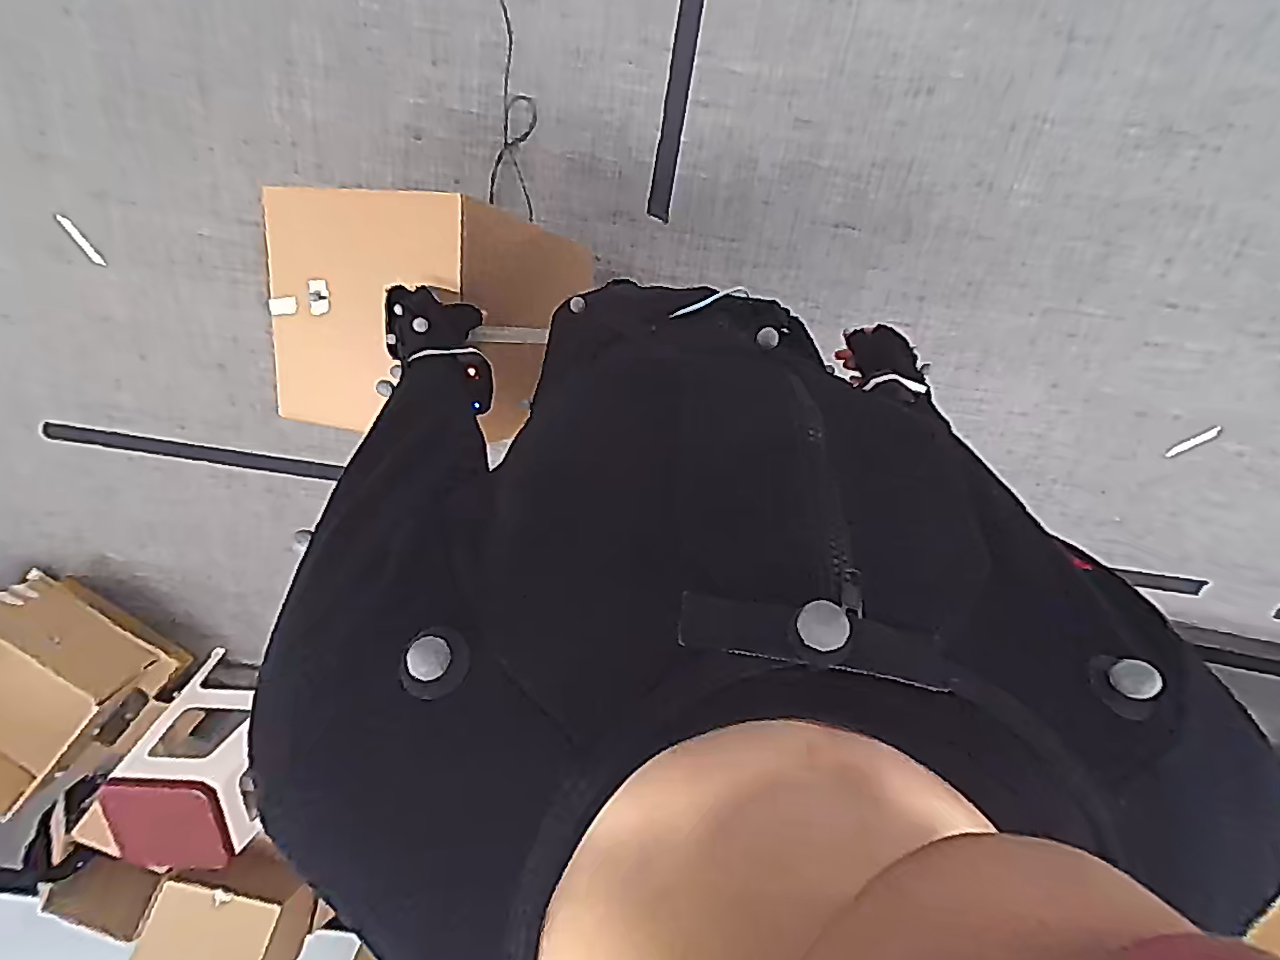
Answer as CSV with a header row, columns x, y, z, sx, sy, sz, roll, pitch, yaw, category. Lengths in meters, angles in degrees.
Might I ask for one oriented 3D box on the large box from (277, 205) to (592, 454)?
x,y,z,sx,sy,sz,roll,pitch,yaw,category
-0.307,-0.252,0.910,0.320,0.408,0.320,11,106,15,large box
